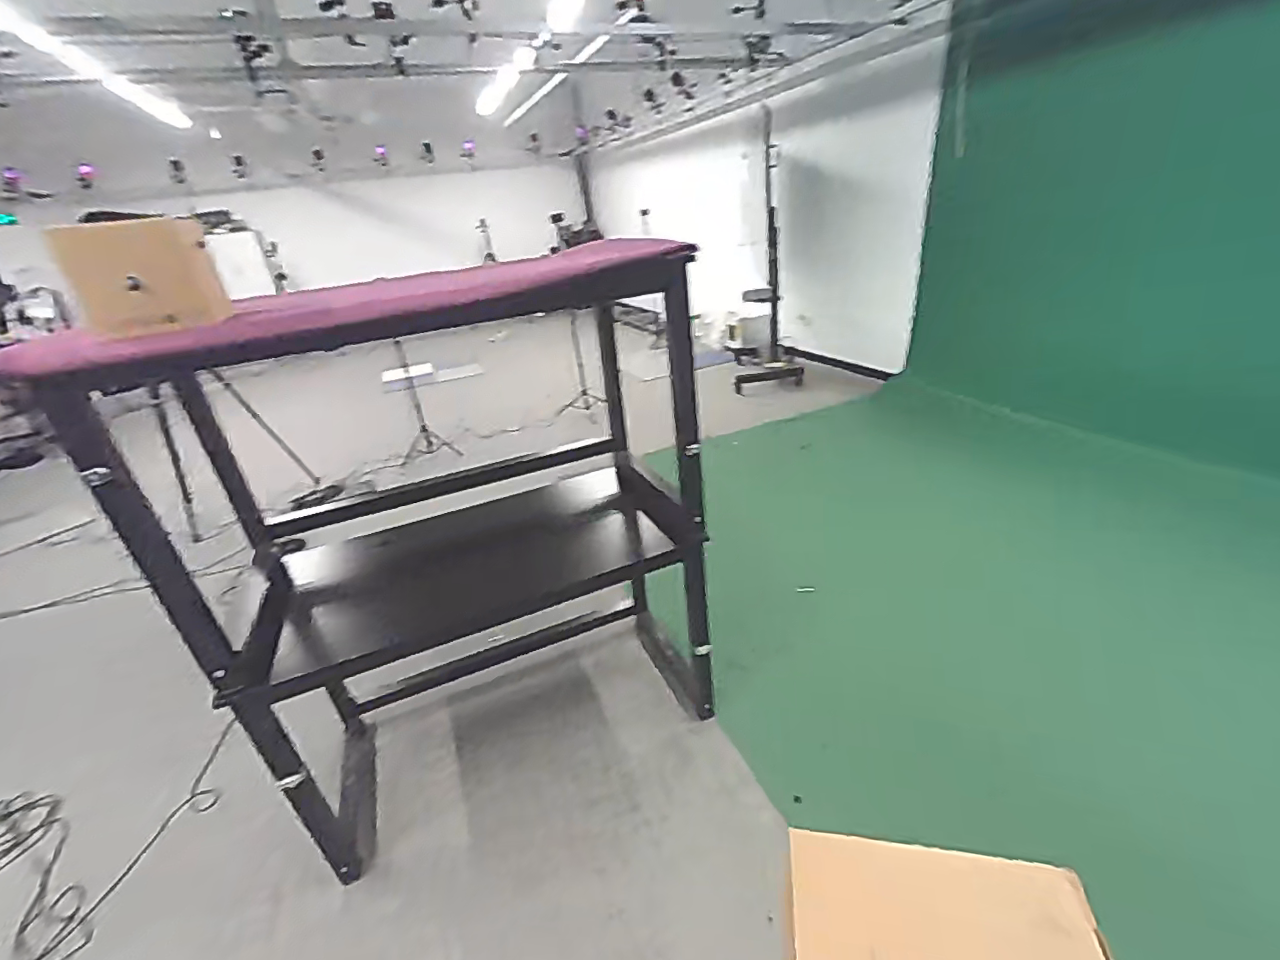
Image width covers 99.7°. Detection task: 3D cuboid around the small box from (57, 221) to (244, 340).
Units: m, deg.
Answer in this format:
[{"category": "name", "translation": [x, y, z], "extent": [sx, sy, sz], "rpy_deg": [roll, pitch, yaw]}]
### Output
[{"category": "small box", "translation": [-0.815, -0.342, 0.927], "extent": [0.168, 0.176, 0.179], "rpy_deg": [-16, 28, -21]}]
